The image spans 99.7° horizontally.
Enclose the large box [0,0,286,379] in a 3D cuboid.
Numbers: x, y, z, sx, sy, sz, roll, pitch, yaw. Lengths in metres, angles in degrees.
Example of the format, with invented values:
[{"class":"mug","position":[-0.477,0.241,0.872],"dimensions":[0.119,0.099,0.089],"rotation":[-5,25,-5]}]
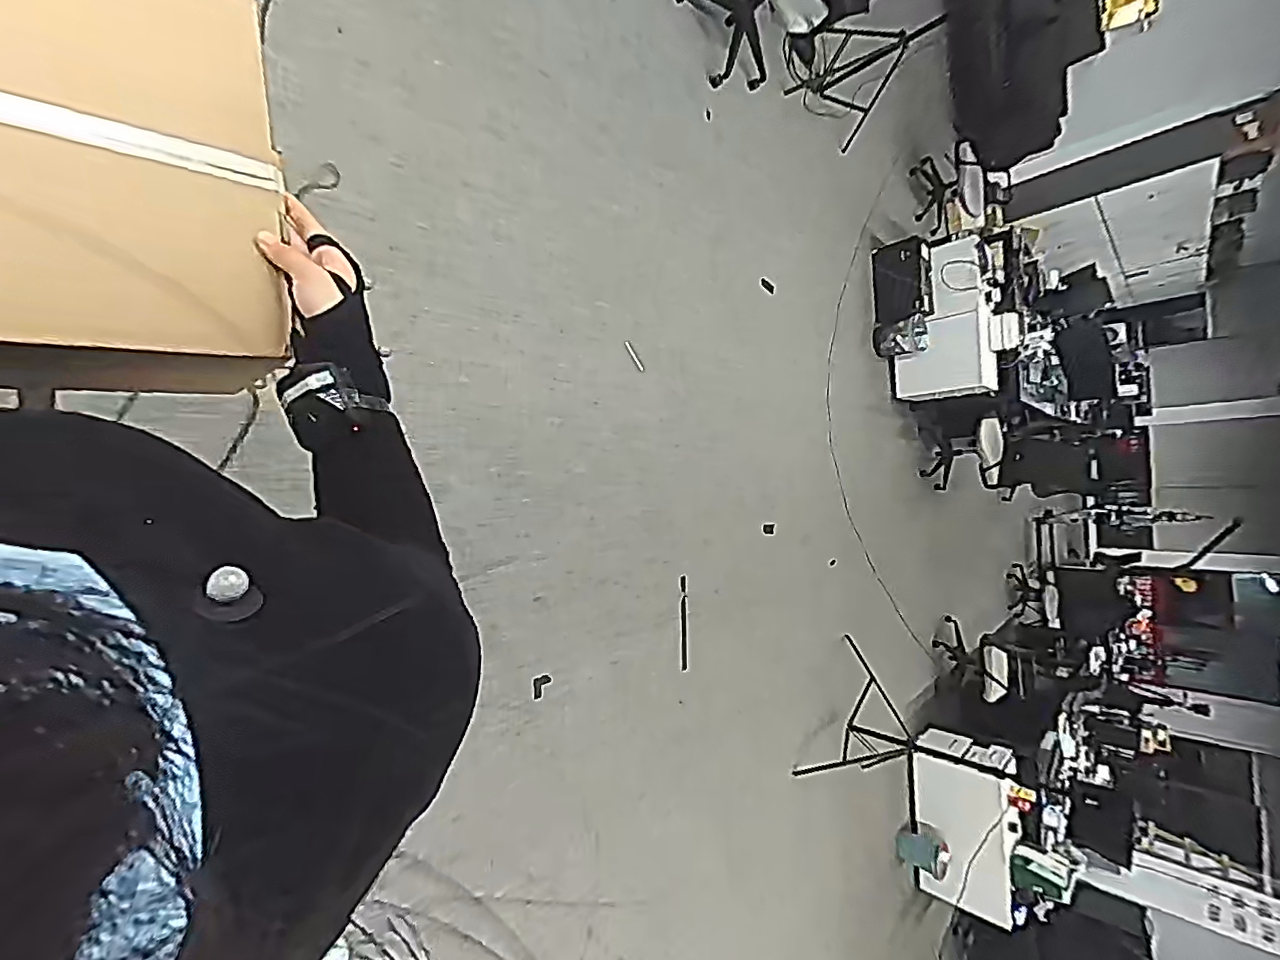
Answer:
[{"class":"large box","position":[-0.581,-0.258,0.457],"dimensions":[0.408,0.320,0.320],"rotation":[-8,95,-44]}]
